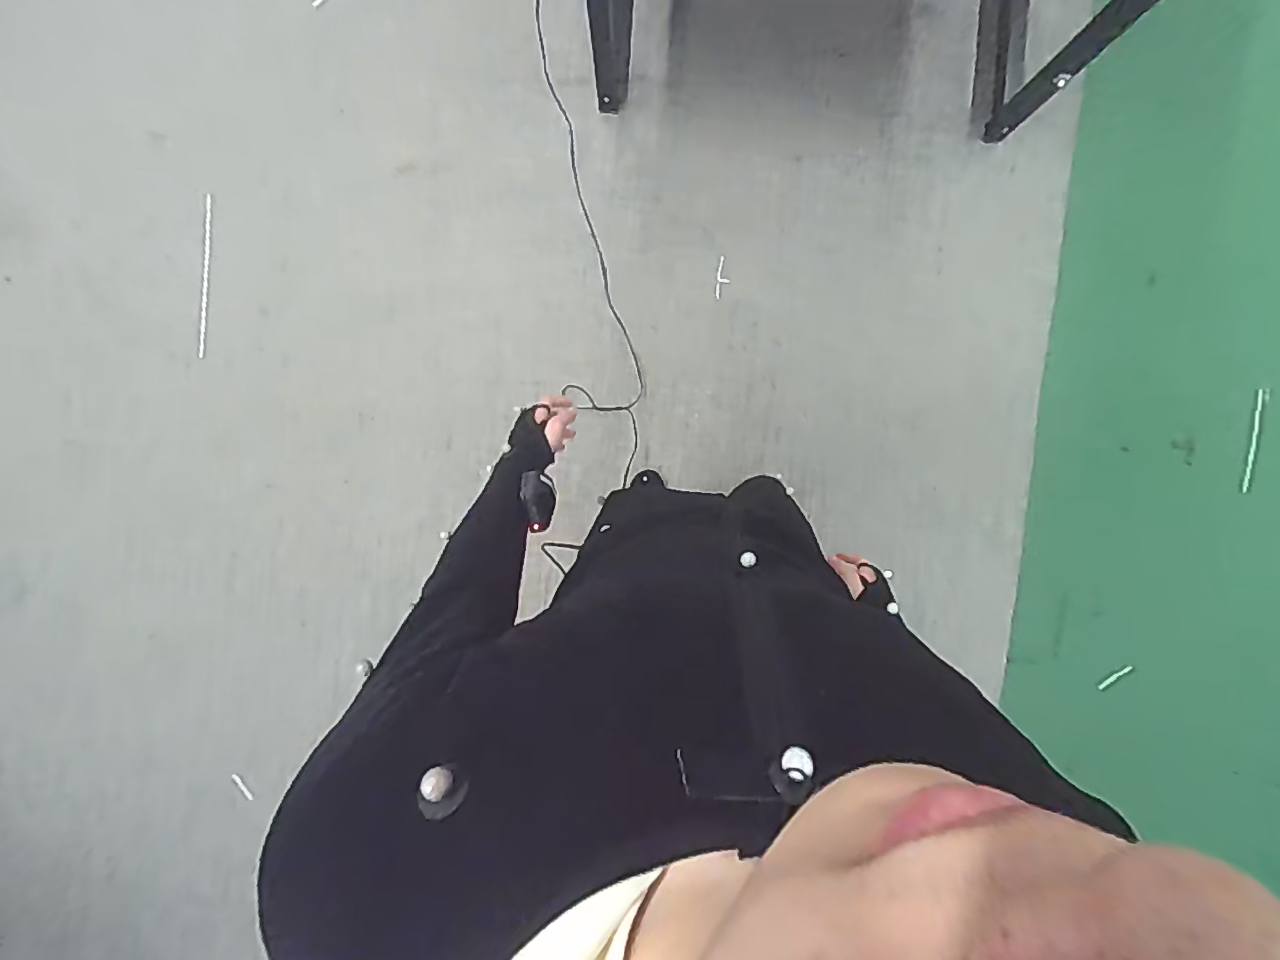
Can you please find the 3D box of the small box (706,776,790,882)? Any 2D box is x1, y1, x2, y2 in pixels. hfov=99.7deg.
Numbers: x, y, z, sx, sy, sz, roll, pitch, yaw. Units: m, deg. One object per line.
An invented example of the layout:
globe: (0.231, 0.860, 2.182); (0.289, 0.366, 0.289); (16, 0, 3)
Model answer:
small box: (0.263, 0.886, 1.356); (0.168, 0.176, 0.179); (11, 93, 1)
